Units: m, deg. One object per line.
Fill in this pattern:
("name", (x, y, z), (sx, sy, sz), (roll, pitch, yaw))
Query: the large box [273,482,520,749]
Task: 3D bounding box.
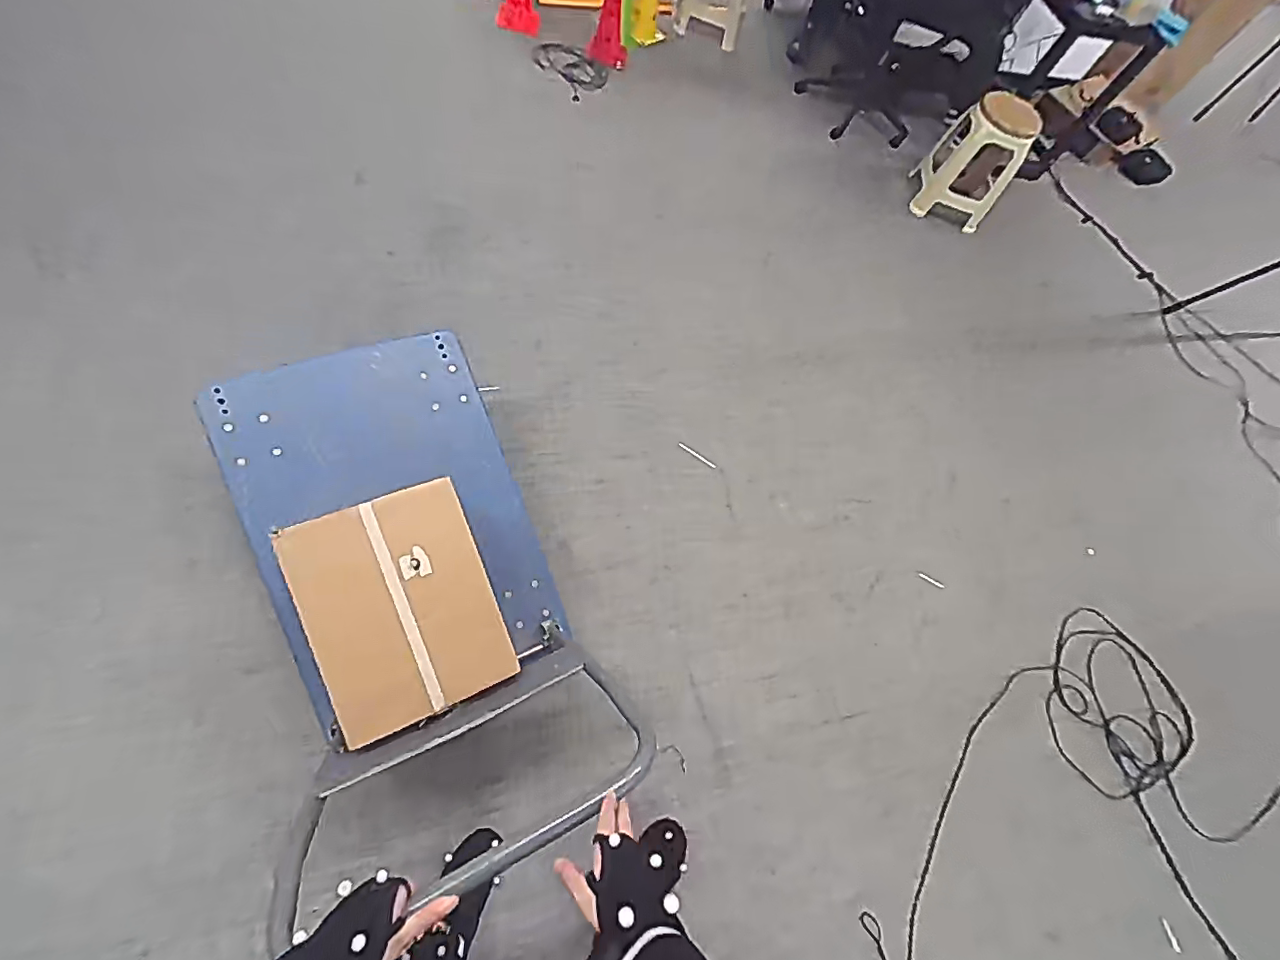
("large box", (-0.481, 0.257, 1.127), (0.320, 0.320, 0.408), (-21, 89, -22))
